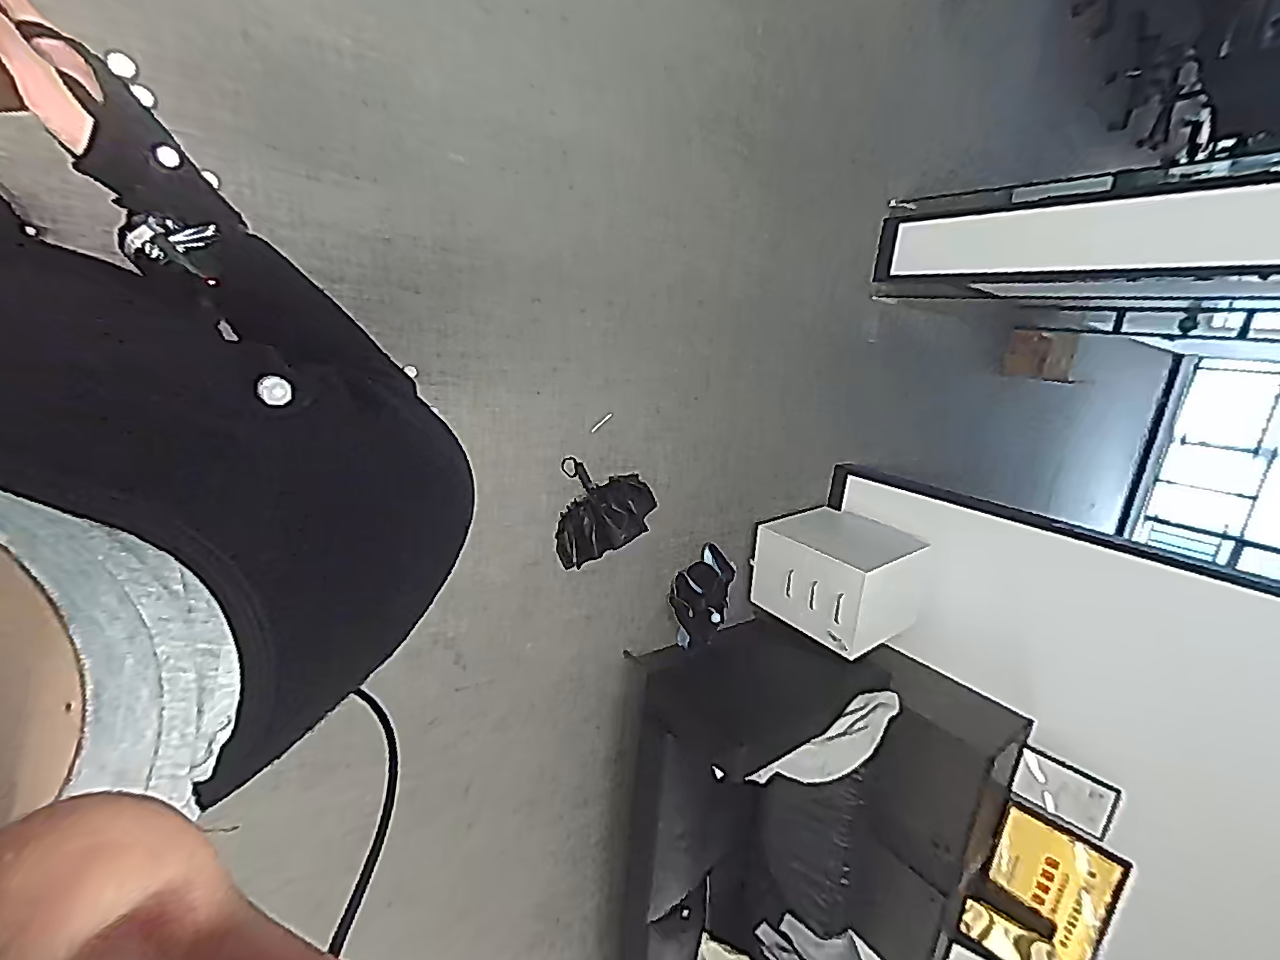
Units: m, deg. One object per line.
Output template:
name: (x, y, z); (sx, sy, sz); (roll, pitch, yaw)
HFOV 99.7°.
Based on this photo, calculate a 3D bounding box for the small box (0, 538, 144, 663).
small box: (-1.175, 0.243, 1.133); (0.168, 0.176, 0.179); (-12, 112, -35)
